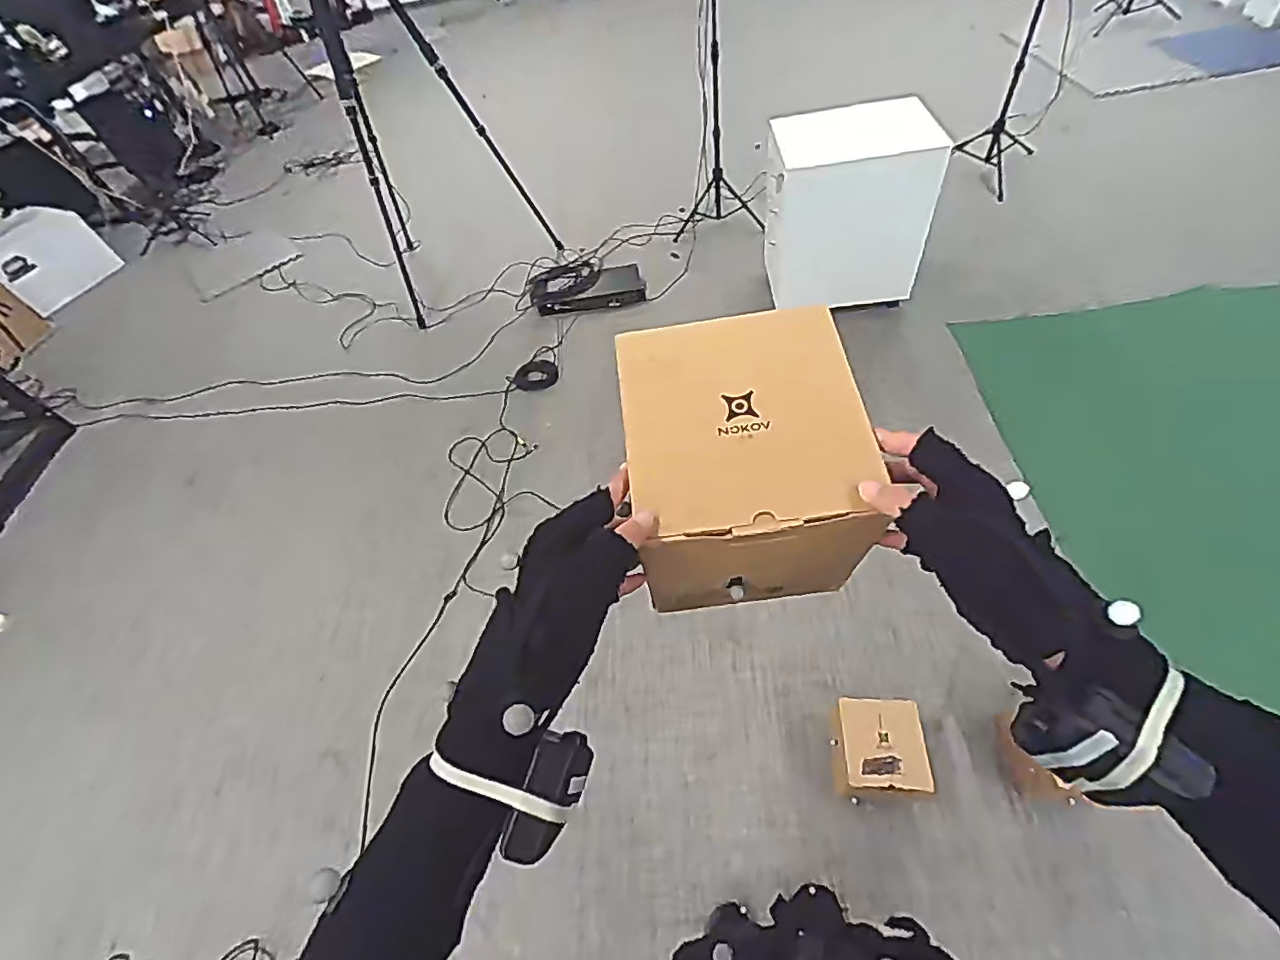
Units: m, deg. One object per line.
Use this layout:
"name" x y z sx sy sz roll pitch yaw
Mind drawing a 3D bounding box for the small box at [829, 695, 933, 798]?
"small box" 0.521 0.592 1.194 0.168 0.176 0.179 -1 53 9
